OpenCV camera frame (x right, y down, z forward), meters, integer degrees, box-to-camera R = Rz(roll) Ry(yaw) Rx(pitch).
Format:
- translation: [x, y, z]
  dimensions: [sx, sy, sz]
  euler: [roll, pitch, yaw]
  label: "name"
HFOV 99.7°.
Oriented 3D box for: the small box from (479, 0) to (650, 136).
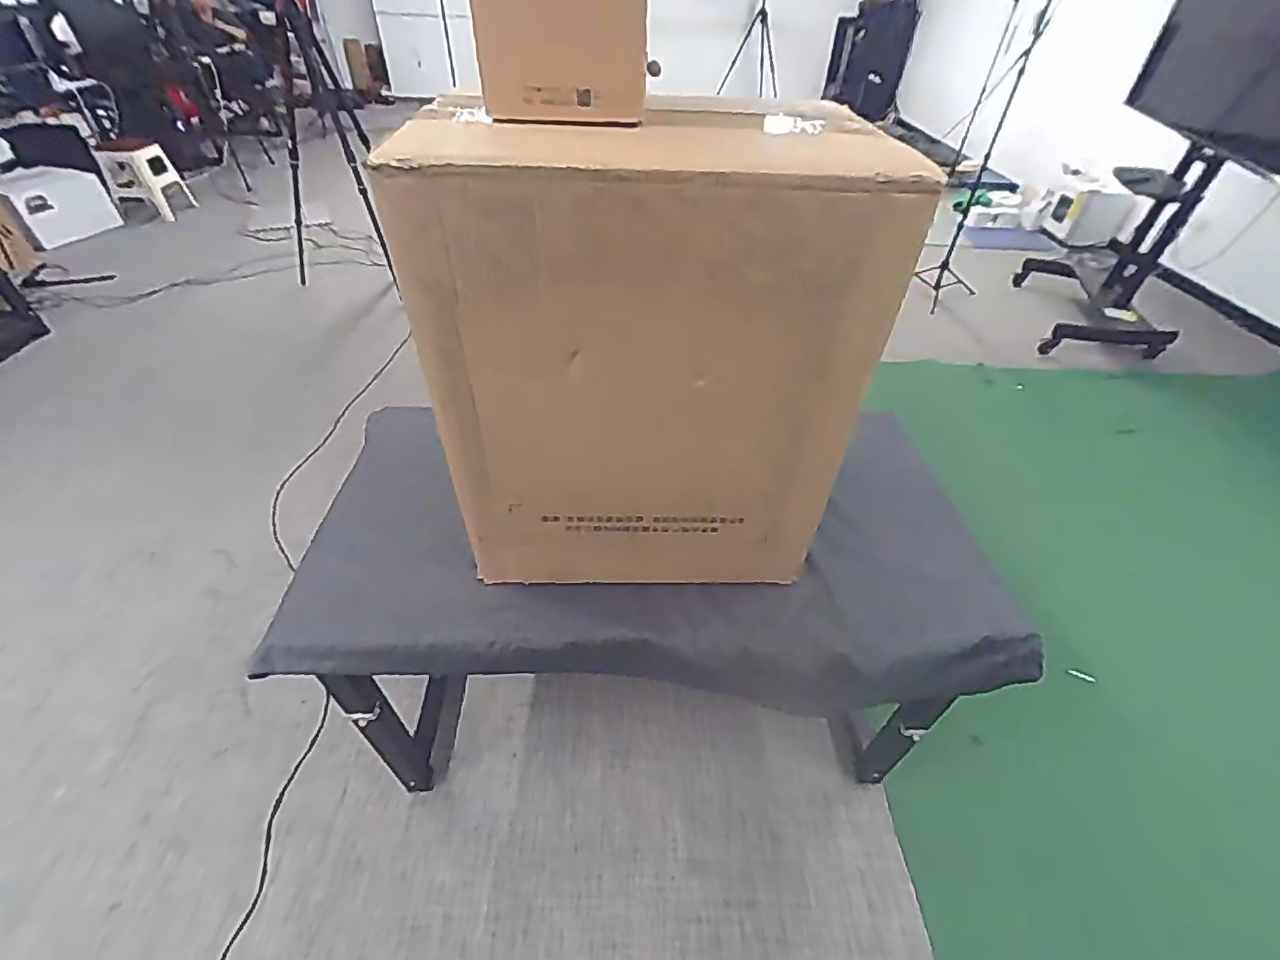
- translation: [-0.073, -0.485, 0.579]
  dimensions: [0.168, 0.176, 0.179]
  euler: [1, 41, 0]
  label: "small box"
